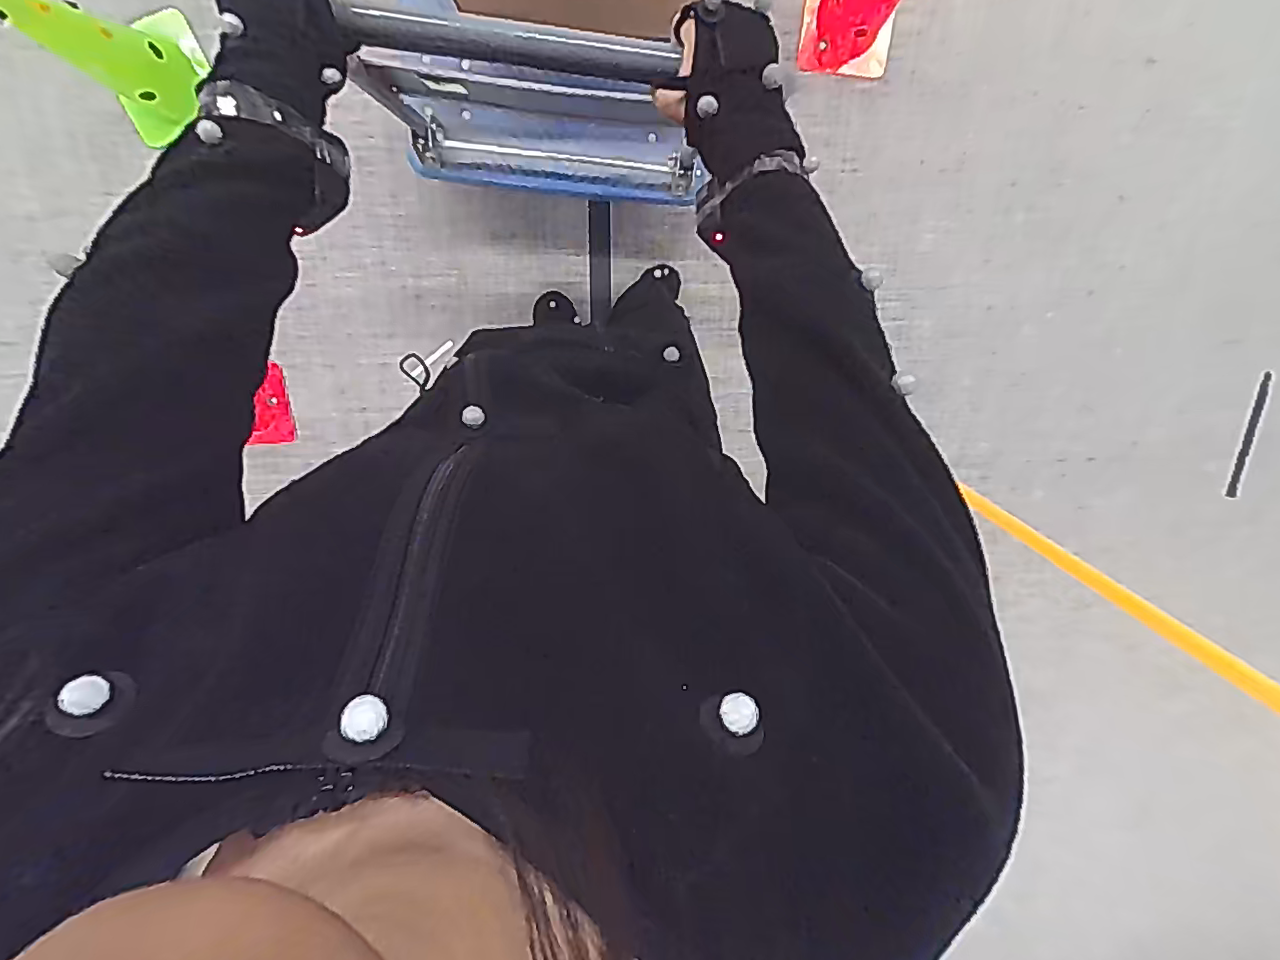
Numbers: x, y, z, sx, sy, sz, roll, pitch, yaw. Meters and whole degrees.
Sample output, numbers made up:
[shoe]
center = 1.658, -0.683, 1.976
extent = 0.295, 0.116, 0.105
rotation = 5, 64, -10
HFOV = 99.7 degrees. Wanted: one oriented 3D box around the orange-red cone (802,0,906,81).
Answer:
[orange-red cone]
center = 0.471, -0.926, 0.994
extent = 0.199, 0.360, 0.198
rotation = 4, 108, -7
